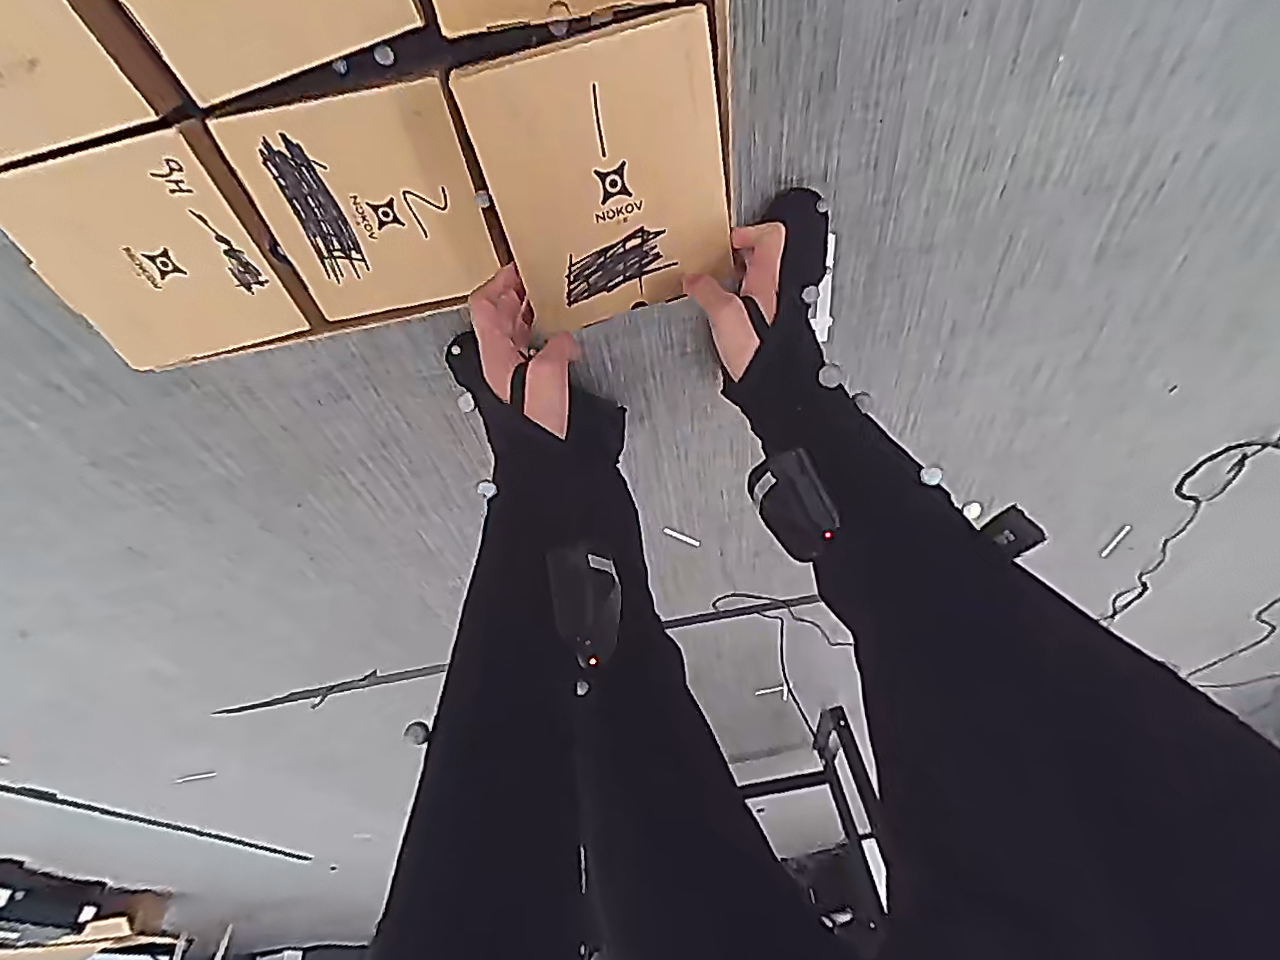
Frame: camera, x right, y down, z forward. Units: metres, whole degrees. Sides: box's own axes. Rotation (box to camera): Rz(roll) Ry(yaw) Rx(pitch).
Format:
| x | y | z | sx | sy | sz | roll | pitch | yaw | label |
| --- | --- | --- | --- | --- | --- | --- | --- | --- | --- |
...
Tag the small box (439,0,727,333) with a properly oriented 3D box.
| x | y | z | sx | sy | sz | roll | pitch | yaw | label |
| --- | --- | --- | --- | --- | --- | --- | --- | --- | --- |
| -0.043 | -0.250 | 0.435 | 0.168 | 0.176 | 0.179 | -19 | 129 | -4 | small box |
